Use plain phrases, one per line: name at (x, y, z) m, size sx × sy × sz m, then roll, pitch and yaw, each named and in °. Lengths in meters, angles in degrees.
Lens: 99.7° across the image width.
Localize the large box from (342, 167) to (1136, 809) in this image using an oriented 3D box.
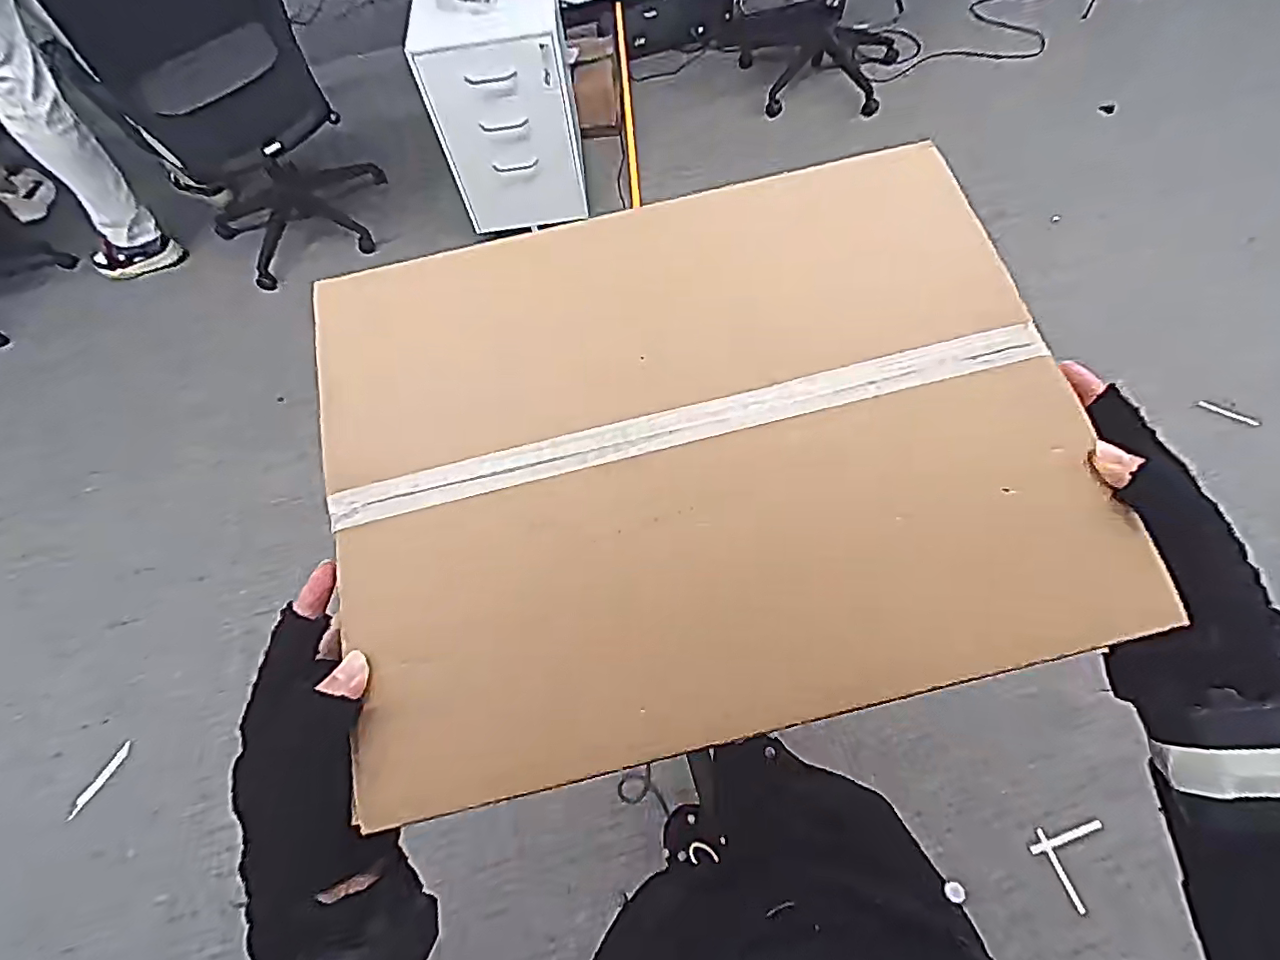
large box at (0.036, 0.020, 0.459) m, size 0.408 × 0.320 × 0.320 m, roll -14°, pitch 73°, yaw -1°
